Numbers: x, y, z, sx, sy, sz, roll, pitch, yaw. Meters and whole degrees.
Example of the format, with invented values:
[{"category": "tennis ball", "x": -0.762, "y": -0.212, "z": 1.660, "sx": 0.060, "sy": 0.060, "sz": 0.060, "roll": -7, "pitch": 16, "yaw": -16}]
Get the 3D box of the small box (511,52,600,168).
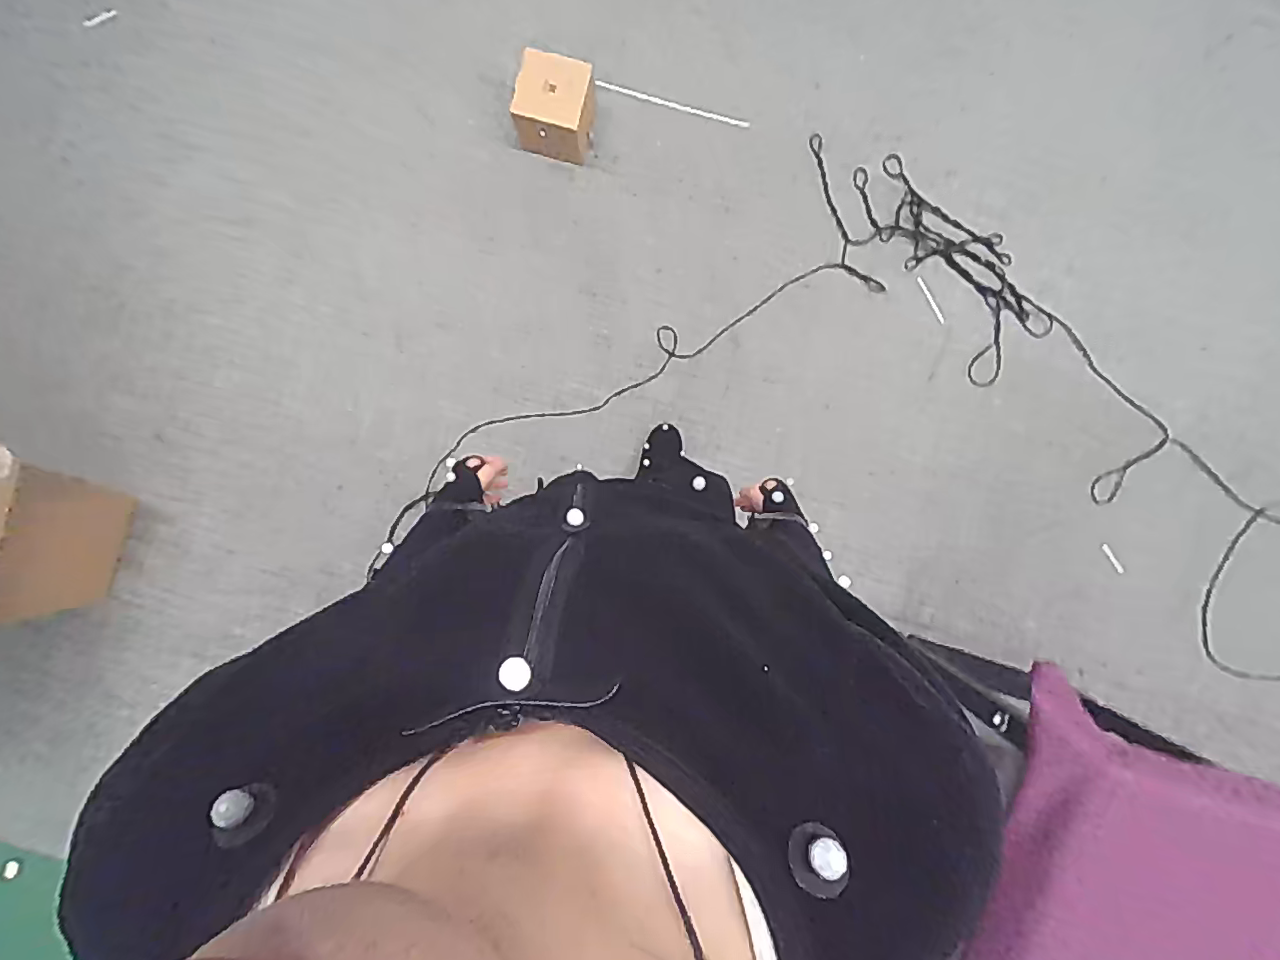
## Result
[{"category": "small box", "x": -0.212, "y": -0.951, "z": 1.406, "sx": 0.179, "sy": 0.176, "sz": 0.168, "roll": 16, "pitch": 92, "yaw": 0}]
